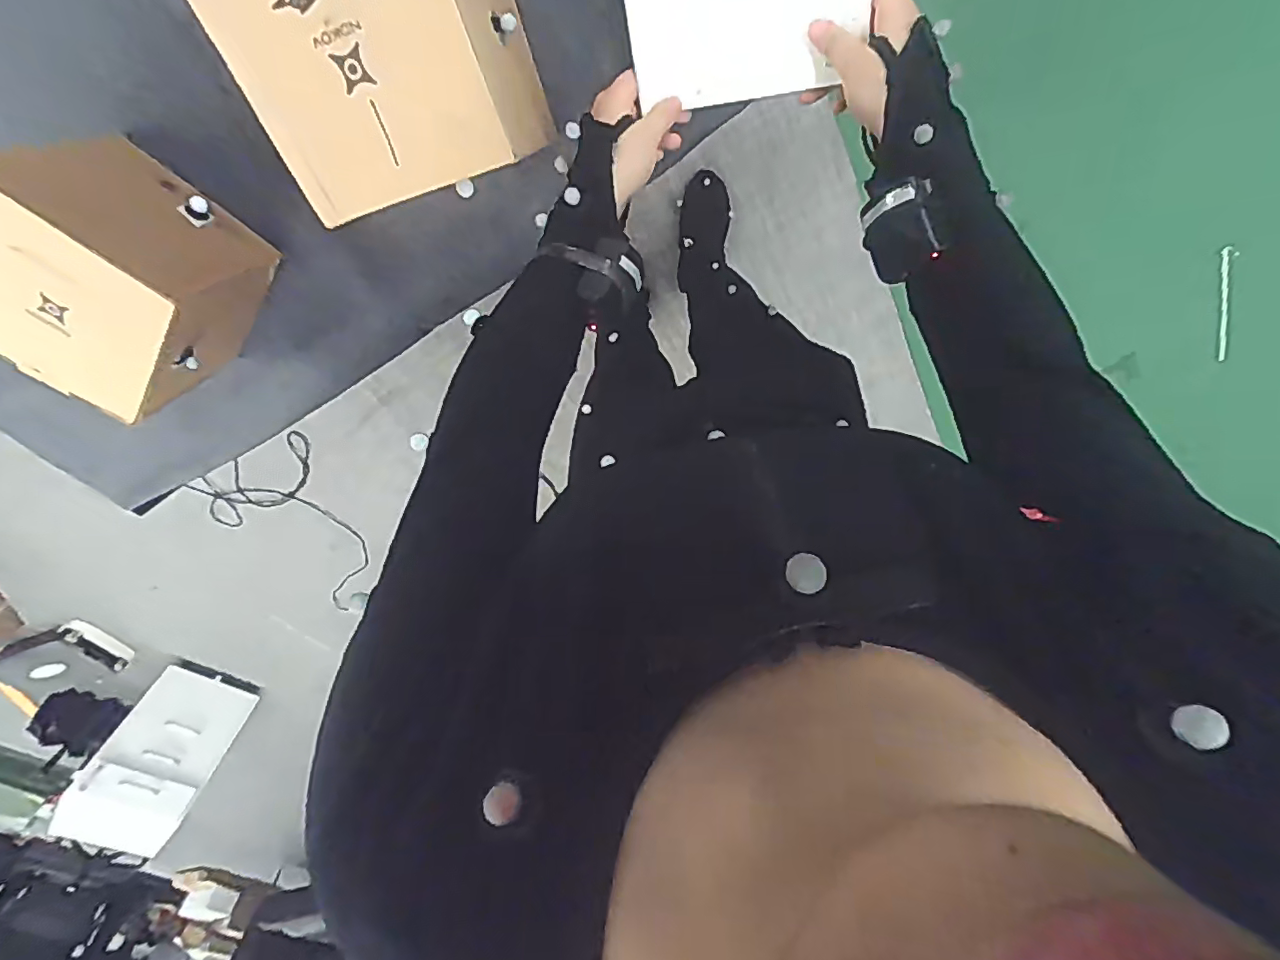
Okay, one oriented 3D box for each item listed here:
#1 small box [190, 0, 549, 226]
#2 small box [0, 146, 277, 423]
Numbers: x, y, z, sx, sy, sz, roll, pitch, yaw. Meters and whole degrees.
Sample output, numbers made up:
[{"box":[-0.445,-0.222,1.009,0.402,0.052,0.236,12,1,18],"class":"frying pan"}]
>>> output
[{"box":[-0.188,-0.328,0.420,0.168,0.176,0.179,-11,127,13],"class":"small box"},{"box":[-0.514,-0.198,0.547,0.168,0.176,0.179,36,121,-23],"class":"small box"}]
